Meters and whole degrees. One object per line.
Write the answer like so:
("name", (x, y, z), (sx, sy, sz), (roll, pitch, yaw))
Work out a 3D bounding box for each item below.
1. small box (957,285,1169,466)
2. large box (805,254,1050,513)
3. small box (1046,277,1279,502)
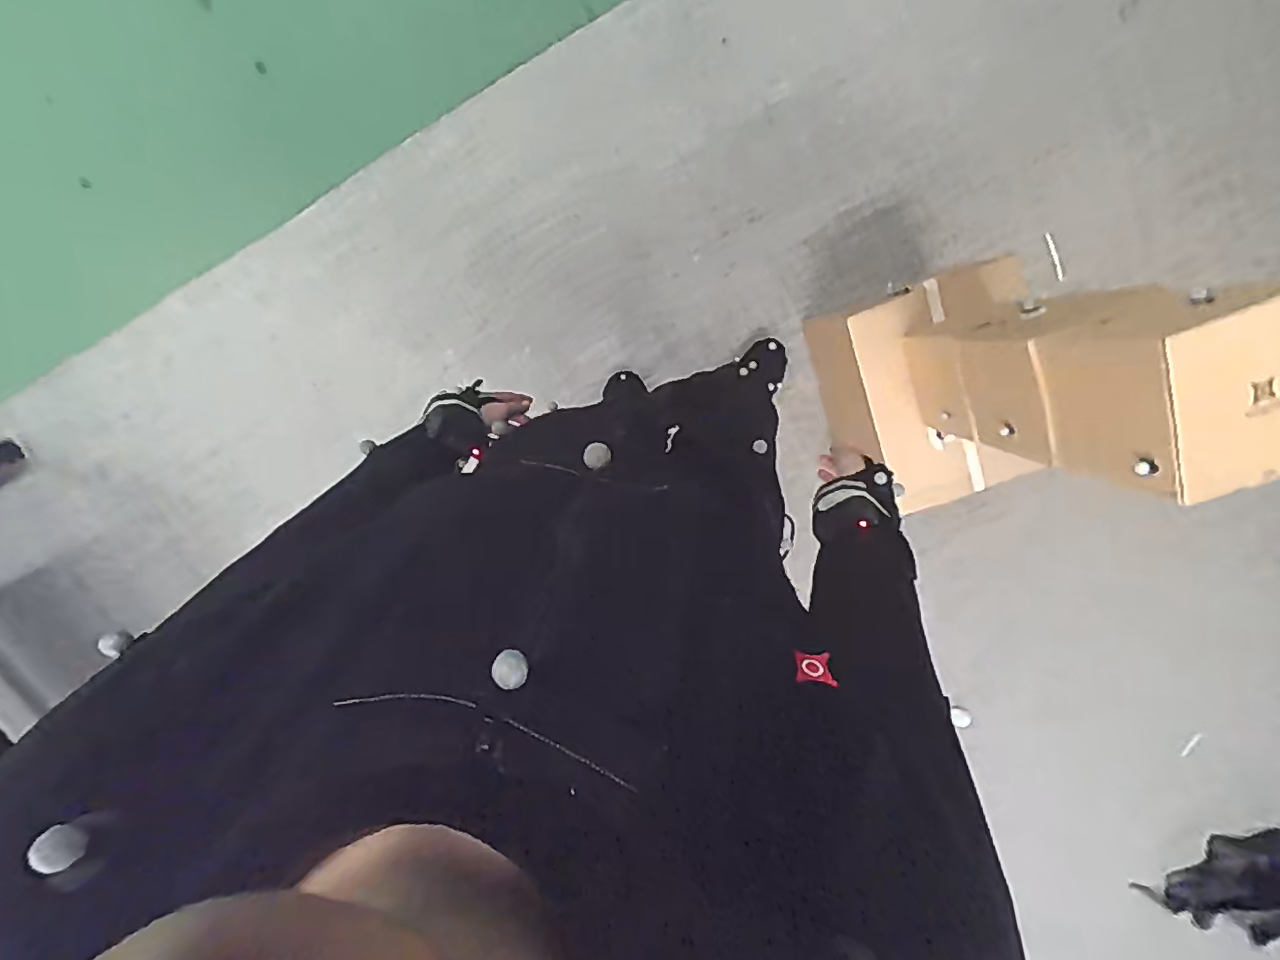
("small box", (0.571, -0.143, 0.733), (0.168, 0.176, 0.179), (-23, 102, 6))
("large box", (0.588, -0.202, 1.137), (0.320, 0.320, 0.408), (-20, 104, 8))
("small box", (0.577, -0.101, 0.575), (0.168, 0.176, 0.179), (-20, 104, 6))
